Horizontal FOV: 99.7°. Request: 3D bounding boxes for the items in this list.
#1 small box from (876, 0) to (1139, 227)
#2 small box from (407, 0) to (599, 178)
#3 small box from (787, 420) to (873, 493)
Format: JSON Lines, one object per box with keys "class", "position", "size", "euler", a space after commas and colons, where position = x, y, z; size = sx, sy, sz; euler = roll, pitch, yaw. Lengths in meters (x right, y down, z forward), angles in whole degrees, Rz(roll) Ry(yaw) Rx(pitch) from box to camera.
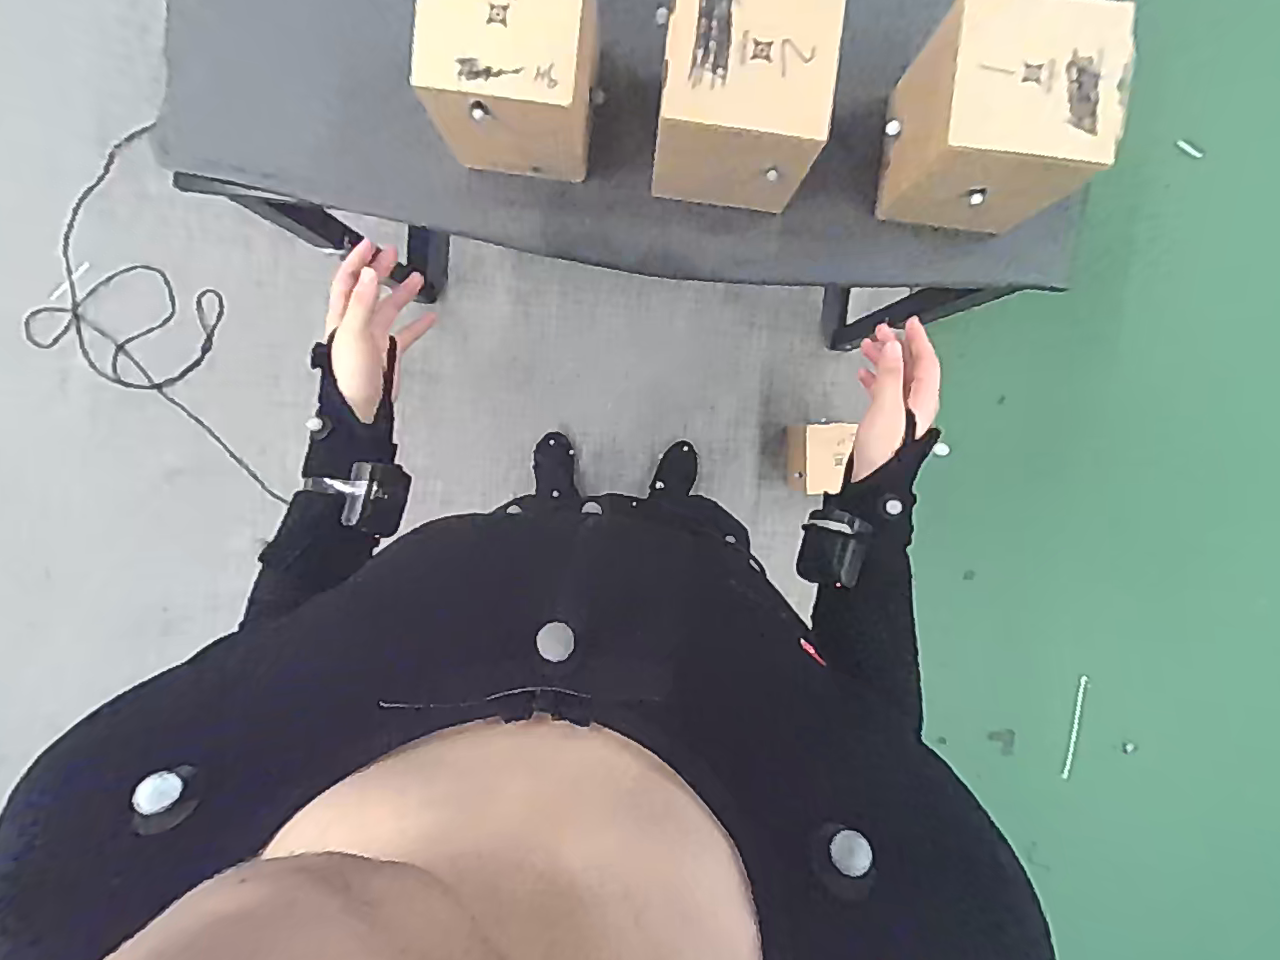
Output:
{"class": "small box", "position": [0.404, -0.414, 0.624], "size": [0.179, 0.176, 0.168], "euler": [7, 92, 0]}
{"class": "small box", "position": [-0.141, -0.483, 0.615], "size": [0.168, 0.176, 0.179], "euler": [8, 94, -1]}
{"class": "small box", "position": [0.485, -0.066, 1.400], "size": [0.168, 0.176, 0.179], "euler": [-2, 96, -1]}
